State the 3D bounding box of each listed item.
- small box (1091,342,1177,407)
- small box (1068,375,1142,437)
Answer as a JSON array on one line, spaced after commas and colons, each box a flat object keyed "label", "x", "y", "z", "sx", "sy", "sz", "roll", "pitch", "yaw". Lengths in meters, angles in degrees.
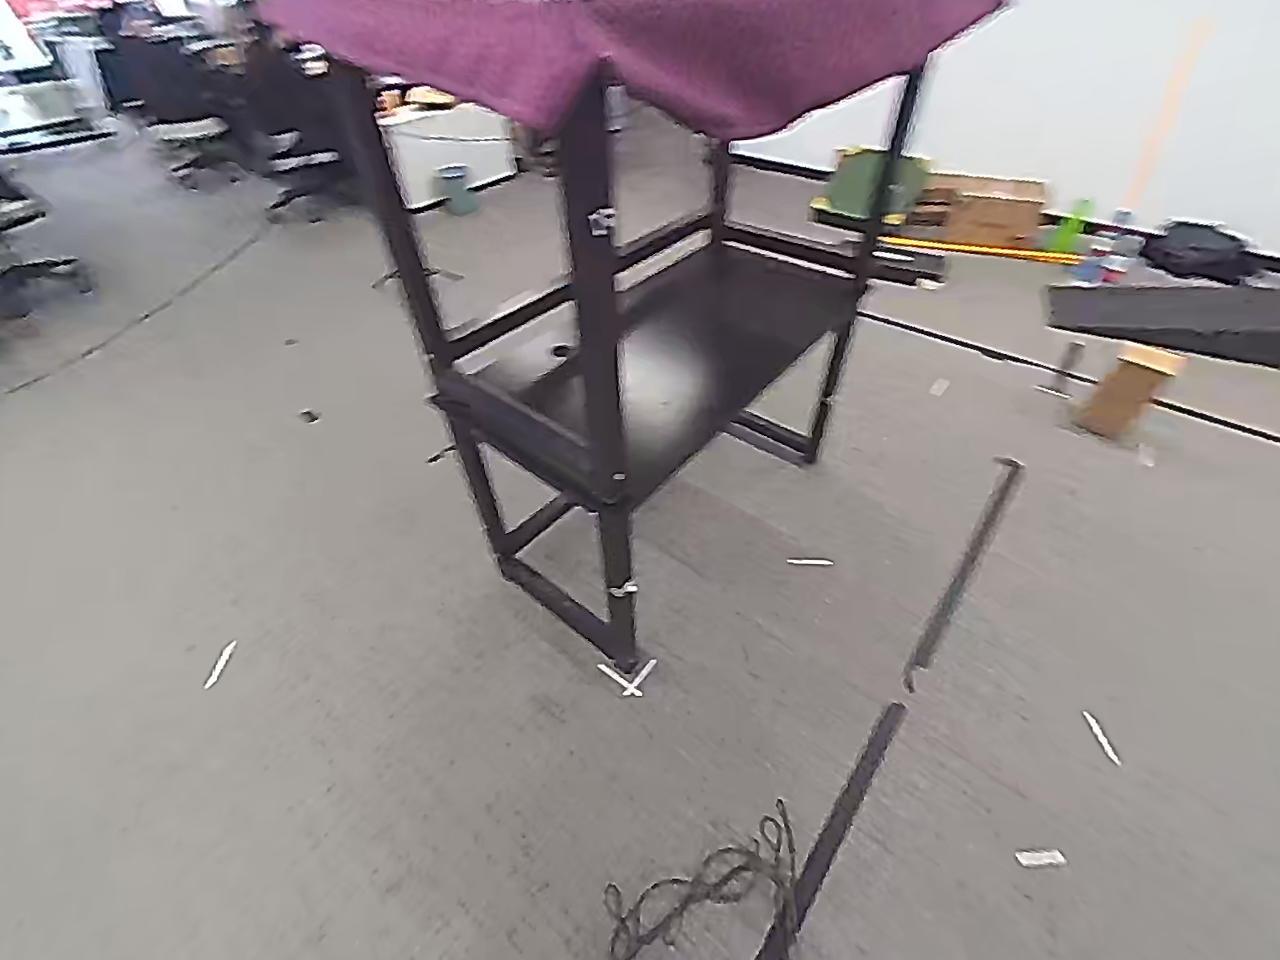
[{"label": "small box", "x": 1.939, "y": -0.412, "z": 2.127, "sx": 0.179, "sy": 0.176, "sz": 0.168, "roll": 33, "pitch": 55, "yaw": 30}, {"label": "small box", "x": 1.938, "y": -0.301, "z": 2.248, "sx": 0.179, "sy": 0.176, "sz": 0.168, "roll": 31, "pitch": 54, "yaw": 26}]
